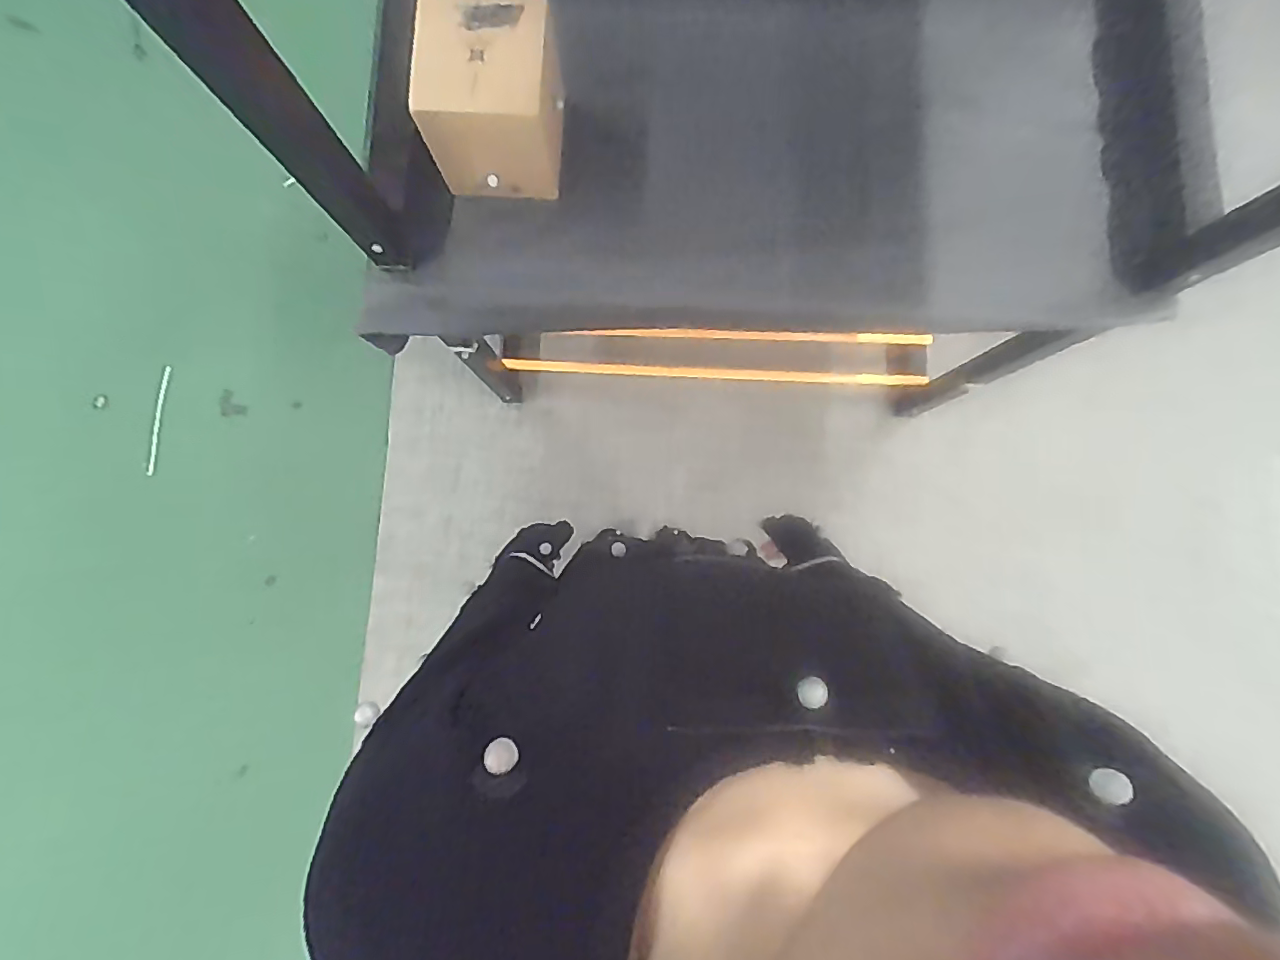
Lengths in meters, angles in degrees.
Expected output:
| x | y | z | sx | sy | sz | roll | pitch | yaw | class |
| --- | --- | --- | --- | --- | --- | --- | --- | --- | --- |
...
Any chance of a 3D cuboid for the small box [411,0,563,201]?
| x | y | z | sx | sy | sz | roll | pitch | yaw | class |
| --- | --- | --- | --- | --- | --- | --- | --- | --- | --- |
| -0.202 | -0.530 | 0.762 | 0.168 | 0.176 | 0.179 | 2 | 83 | 0 | small box |
